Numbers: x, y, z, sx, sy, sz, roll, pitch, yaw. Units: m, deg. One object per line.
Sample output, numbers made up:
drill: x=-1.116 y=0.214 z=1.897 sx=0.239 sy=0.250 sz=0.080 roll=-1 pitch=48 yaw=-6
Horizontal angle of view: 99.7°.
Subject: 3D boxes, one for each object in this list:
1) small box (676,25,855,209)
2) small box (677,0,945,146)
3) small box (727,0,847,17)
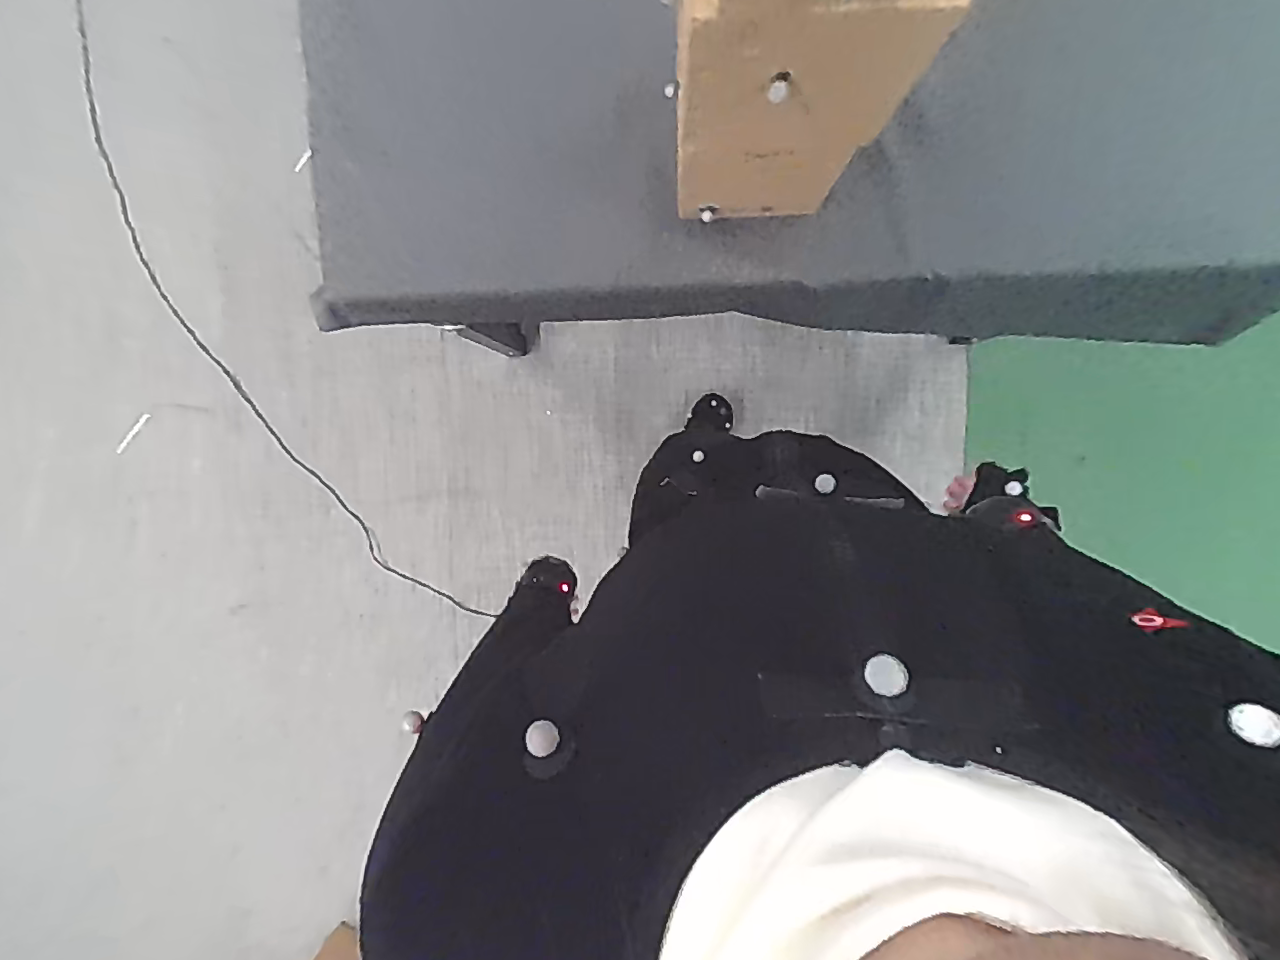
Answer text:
small box: x=0.123 y=-0.405 z=0.572 sx=0.168 sy=0.176 sz=0.179 roll=-1 pitch=94 yaw=3
small box: x=0.117 y=-0.385 z=0.413 sx=0.179 sy=0.176 sz=0.168 roll=-3 pitch=93 yaw=3
small box: x=0.112 y=-0.375 z=0.248 sx=0.168 sy=0.176 sz=0.179 roll=-6 pitch=96 yaw=5
